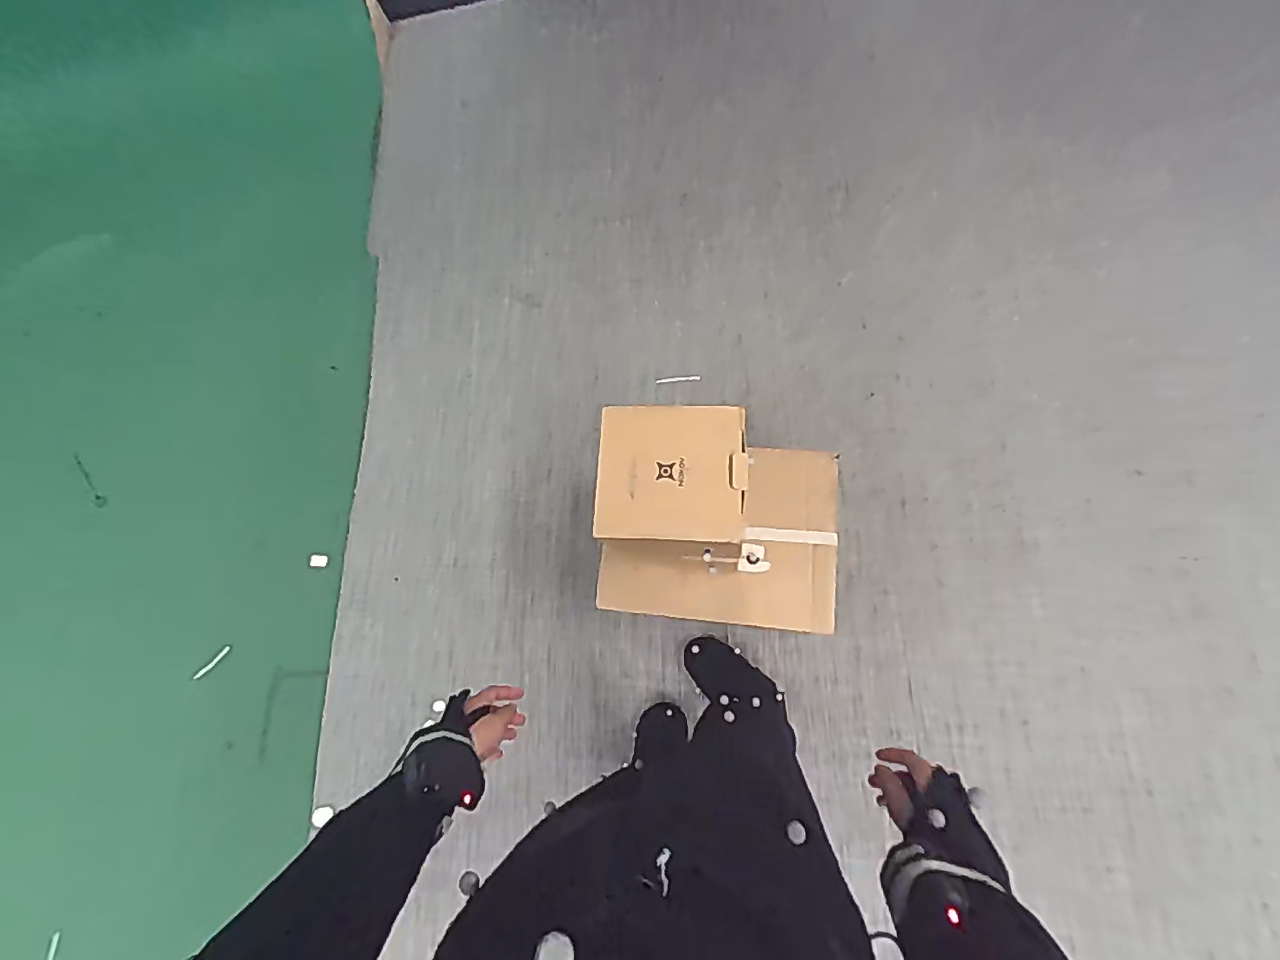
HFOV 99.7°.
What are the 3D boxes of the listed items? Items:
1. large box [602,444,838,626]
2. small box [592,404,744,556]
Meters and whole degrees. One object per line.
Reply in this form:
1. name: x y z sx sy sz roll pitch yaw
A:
1. large box: 0.161 0.118 1.090 0.408 0.320 0.320 3 78 10
2. small box: 0.046 0.008 0.713 0.179 0.176 0.168 0 75 11
